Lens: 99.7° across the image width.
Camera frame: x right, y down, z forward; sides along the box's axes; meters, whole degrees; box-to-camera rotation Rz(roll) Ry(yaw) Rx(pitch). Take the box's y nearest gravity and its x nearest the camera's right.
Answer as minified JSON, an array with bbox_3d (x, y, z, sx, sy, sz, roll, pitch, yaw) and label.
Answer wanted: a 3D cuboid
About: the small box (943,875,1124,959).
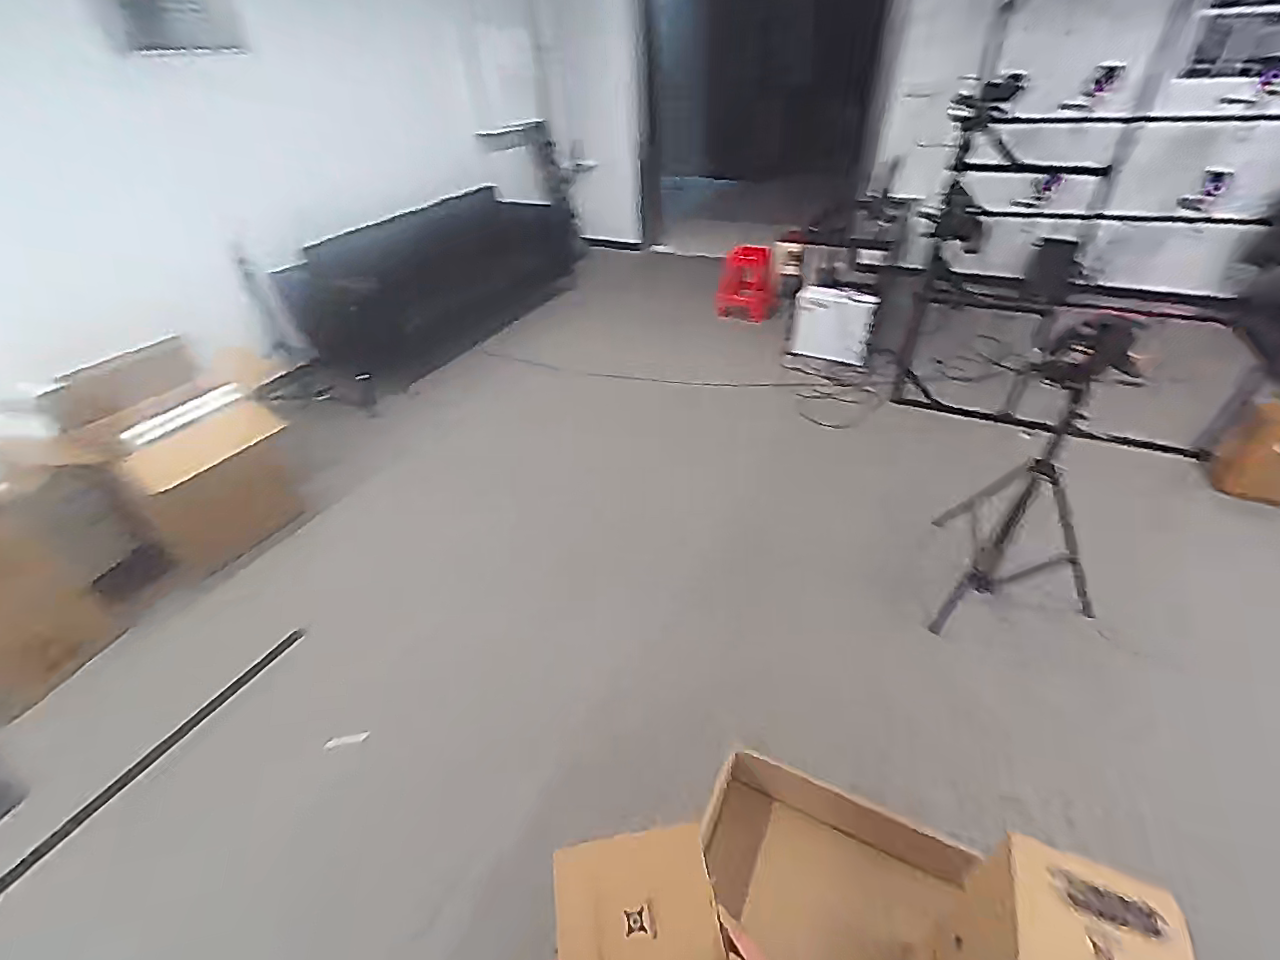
[{"bbox_3d":[0.515,0.693,0.725,0.168,0.176,0.179,18,42,25],"label":"small box"}]

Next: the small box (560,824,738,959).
[{"bbox_3d":[0.006,0.533,0.626,0.179,0.176,0.168,-7,40,-8],"label":"small box"}]
